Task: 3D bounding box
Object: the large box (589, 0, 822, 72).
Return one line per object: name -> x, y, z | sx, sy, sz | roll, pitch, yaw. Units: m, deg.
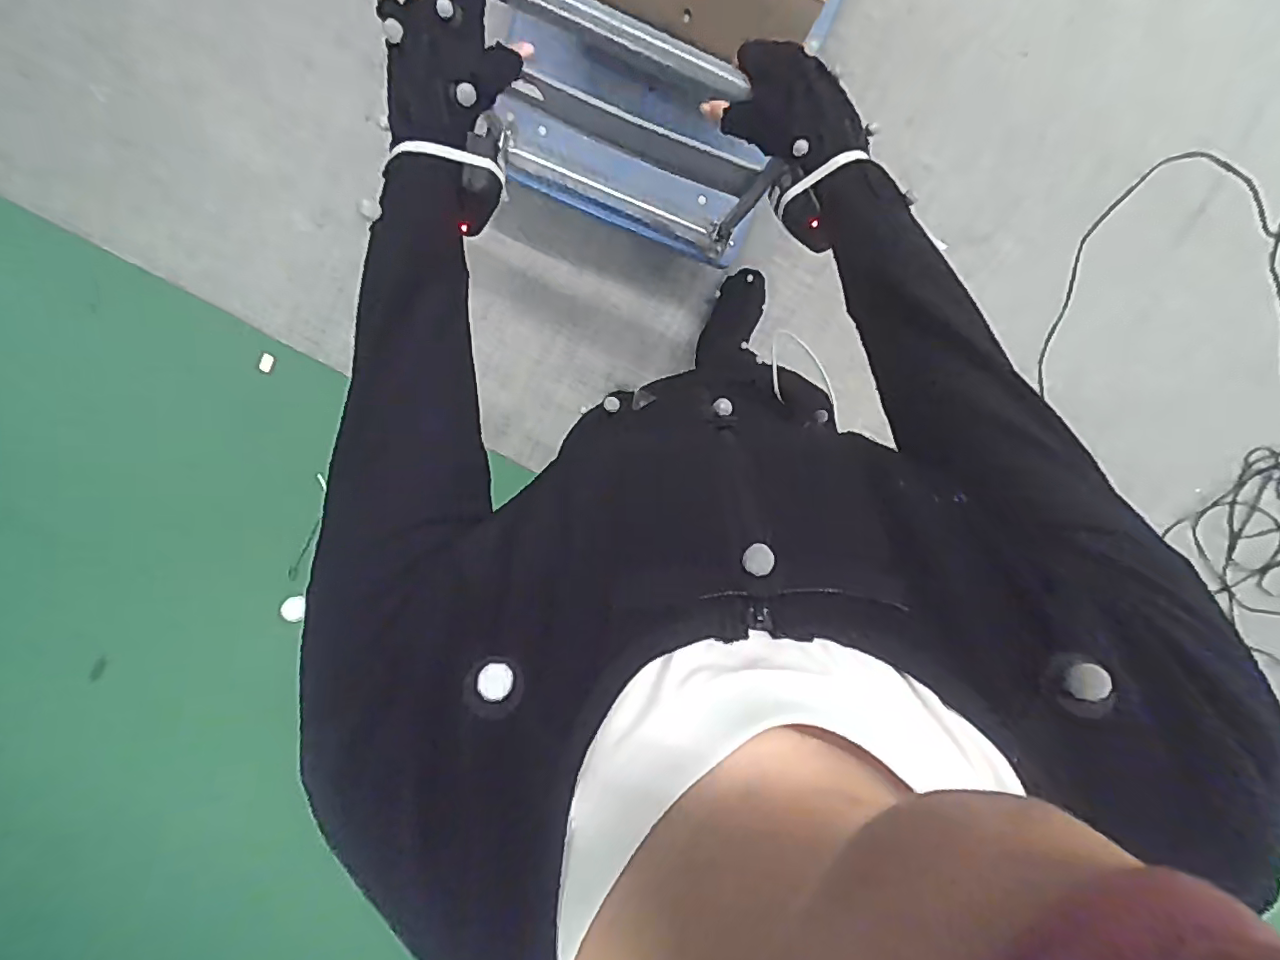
large box -> 0.129, -0.947, 0.870 | 0.408, 0.320, 0.320 | 18, 107, -4
